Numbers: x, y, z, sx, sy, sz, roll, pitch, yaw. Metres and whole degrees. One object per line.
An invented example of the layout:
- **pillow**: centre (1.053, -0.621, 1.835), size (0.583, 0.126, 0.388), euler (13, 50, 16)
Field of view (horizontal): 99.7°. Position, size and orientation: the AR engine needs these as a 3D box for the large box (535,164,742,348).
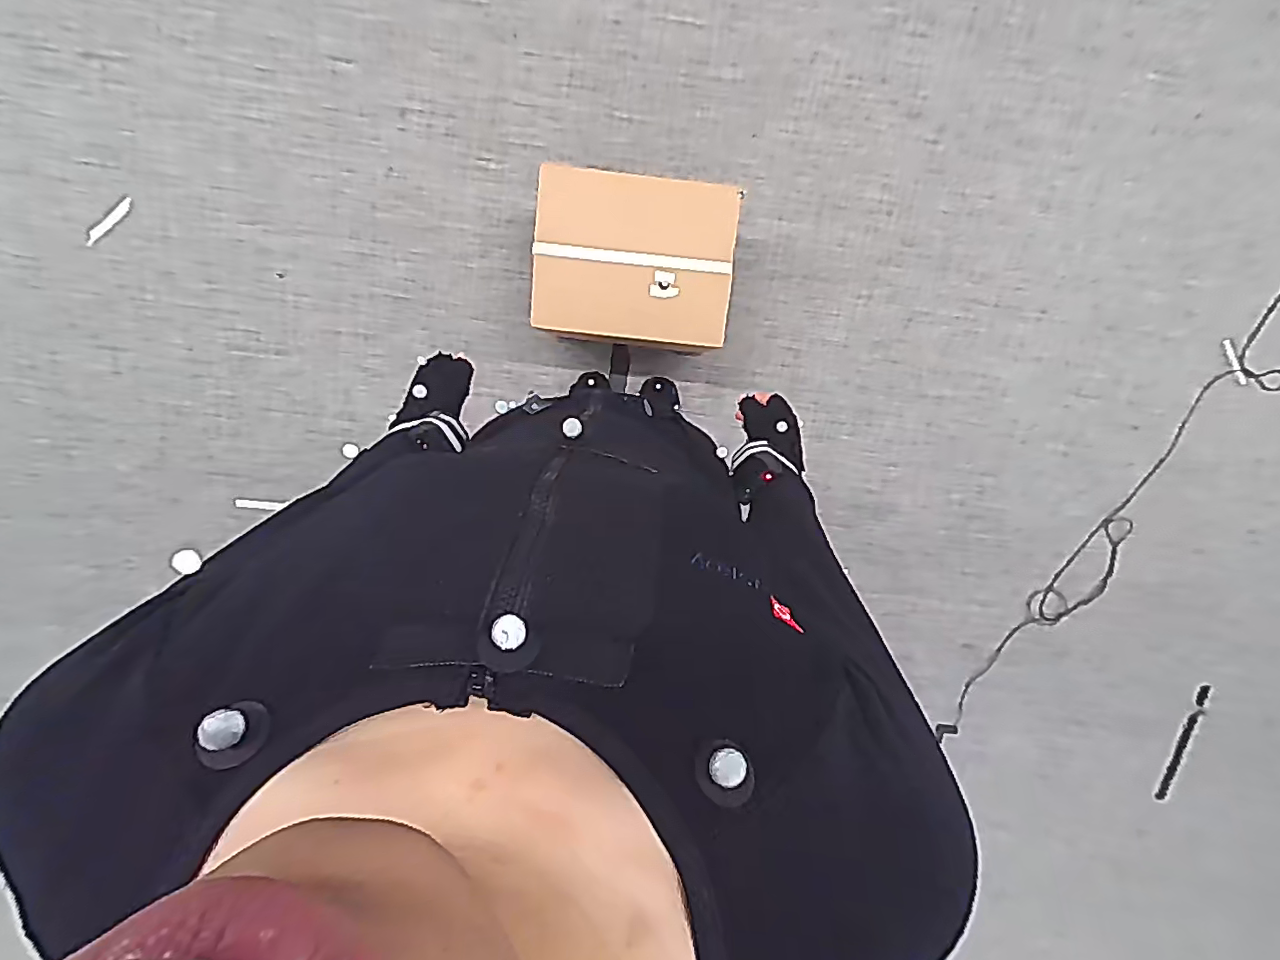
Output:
- **large box**: centre (-0.013, -0.482, 1.237), size (0.408, 0.320, 0.320), euler (5, 102, -2)
